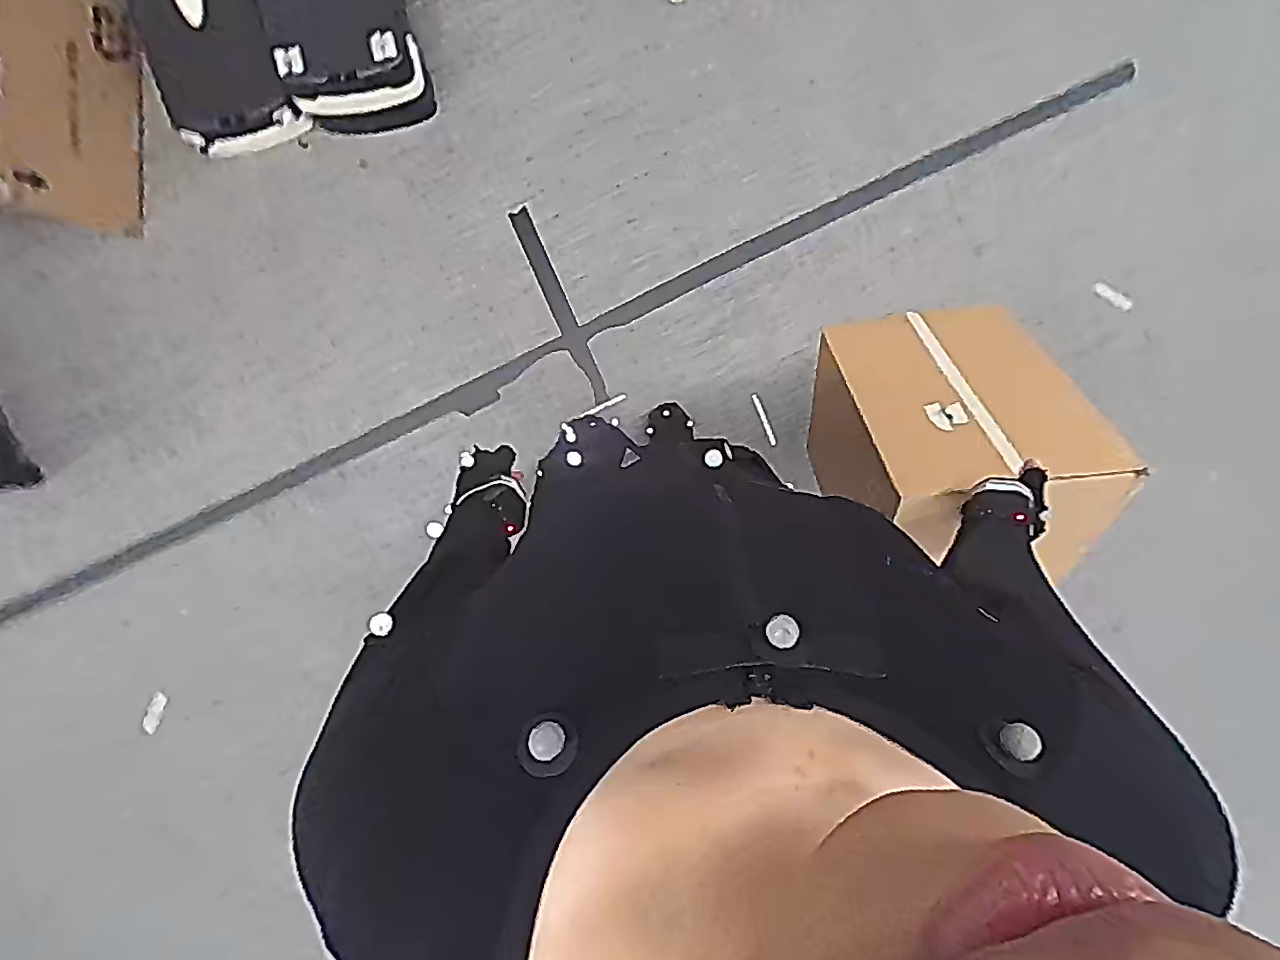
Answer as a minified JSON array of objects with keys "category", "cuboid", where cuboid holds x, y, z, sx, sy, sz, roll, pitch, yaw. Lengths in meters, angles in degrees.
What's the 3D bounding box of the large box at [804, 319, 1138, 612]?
[{"category":"large box","cuboid":[0.508,-0.027,0.955,0.320,0.408,0.320,-7,139,4]}]
